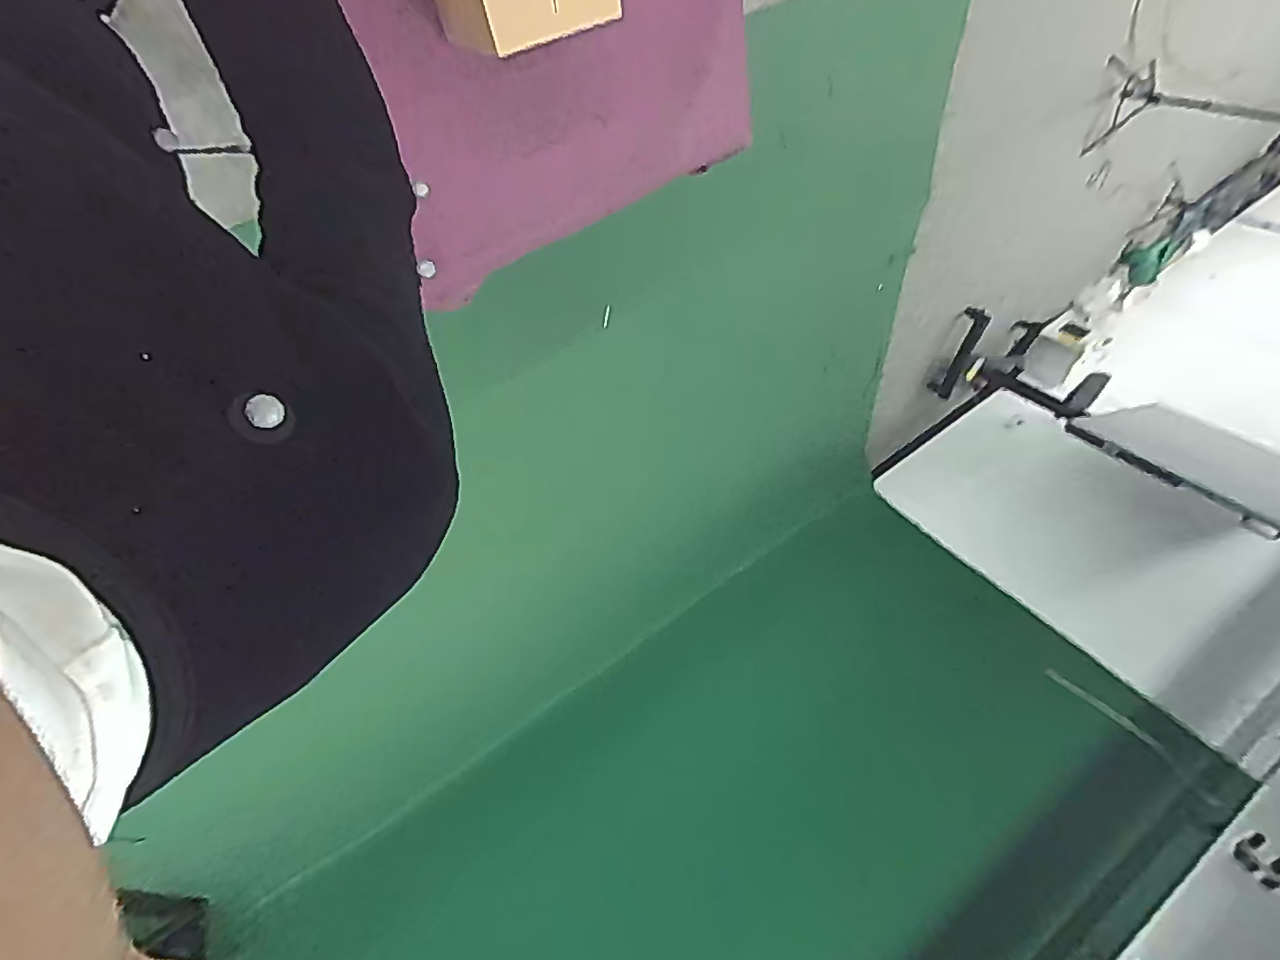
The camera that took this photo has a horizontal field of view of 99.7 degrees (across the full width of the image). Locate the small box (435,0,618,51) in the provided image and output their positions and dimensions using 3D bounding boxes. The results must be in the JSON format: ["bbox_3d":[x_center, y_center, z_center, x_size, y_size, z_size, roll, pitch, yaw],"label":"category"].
[{"bbox_3d":[-0.147,-0.610,0.597,0.168,0.176,0.179,-31,143,-15],"label":"small box"}]
